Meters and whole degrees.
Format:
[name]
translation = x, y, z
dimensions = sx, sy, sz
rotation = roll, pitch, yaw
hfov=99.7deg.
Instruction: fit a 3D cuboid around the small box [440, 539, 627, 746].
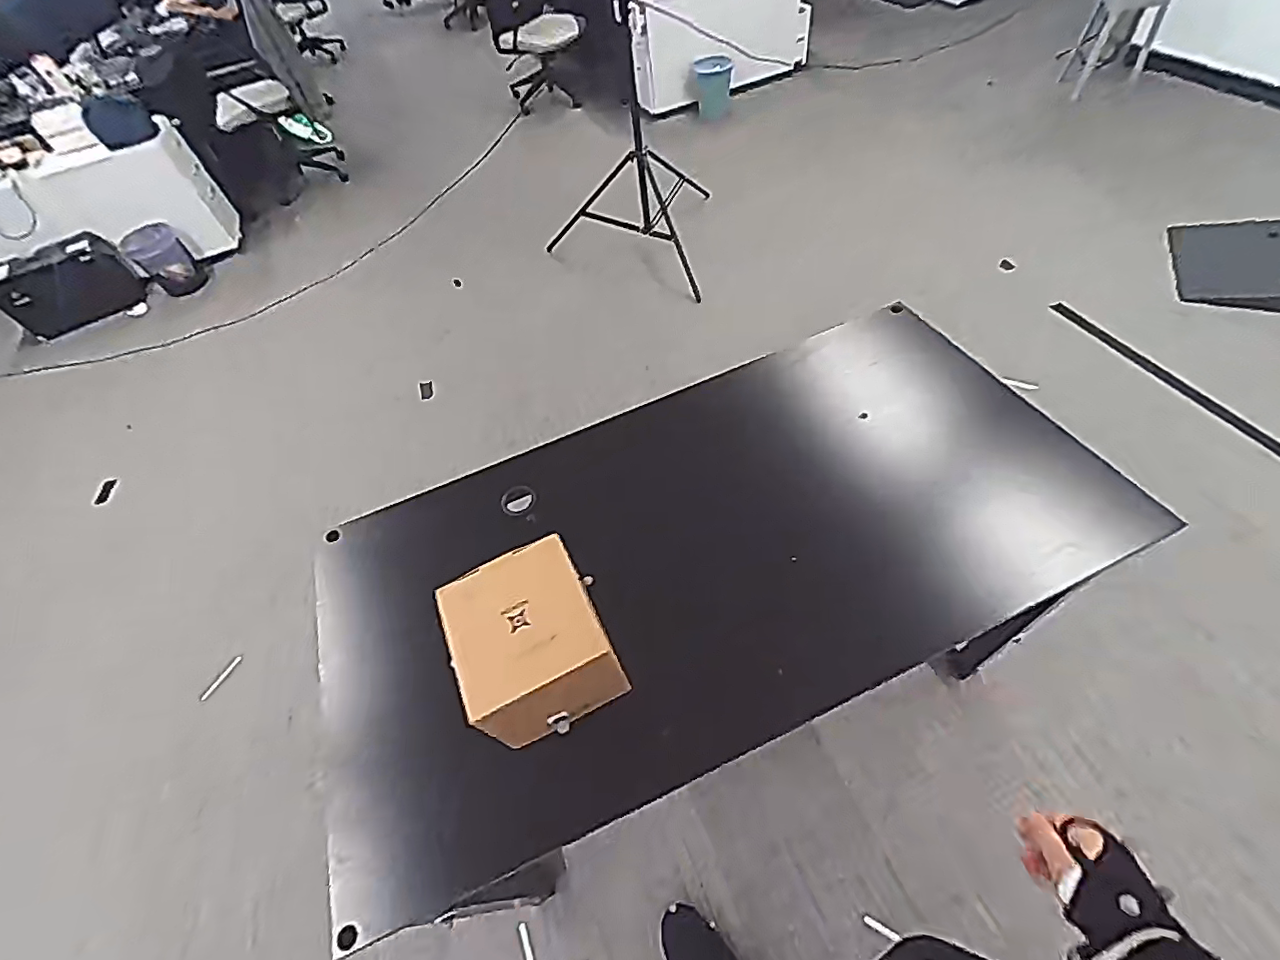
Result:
[small box]
translation = -0.133, 0.215, 0.704
dimensions = 0.168, 0.176, 0.179
rotation = -26, 55, -9
